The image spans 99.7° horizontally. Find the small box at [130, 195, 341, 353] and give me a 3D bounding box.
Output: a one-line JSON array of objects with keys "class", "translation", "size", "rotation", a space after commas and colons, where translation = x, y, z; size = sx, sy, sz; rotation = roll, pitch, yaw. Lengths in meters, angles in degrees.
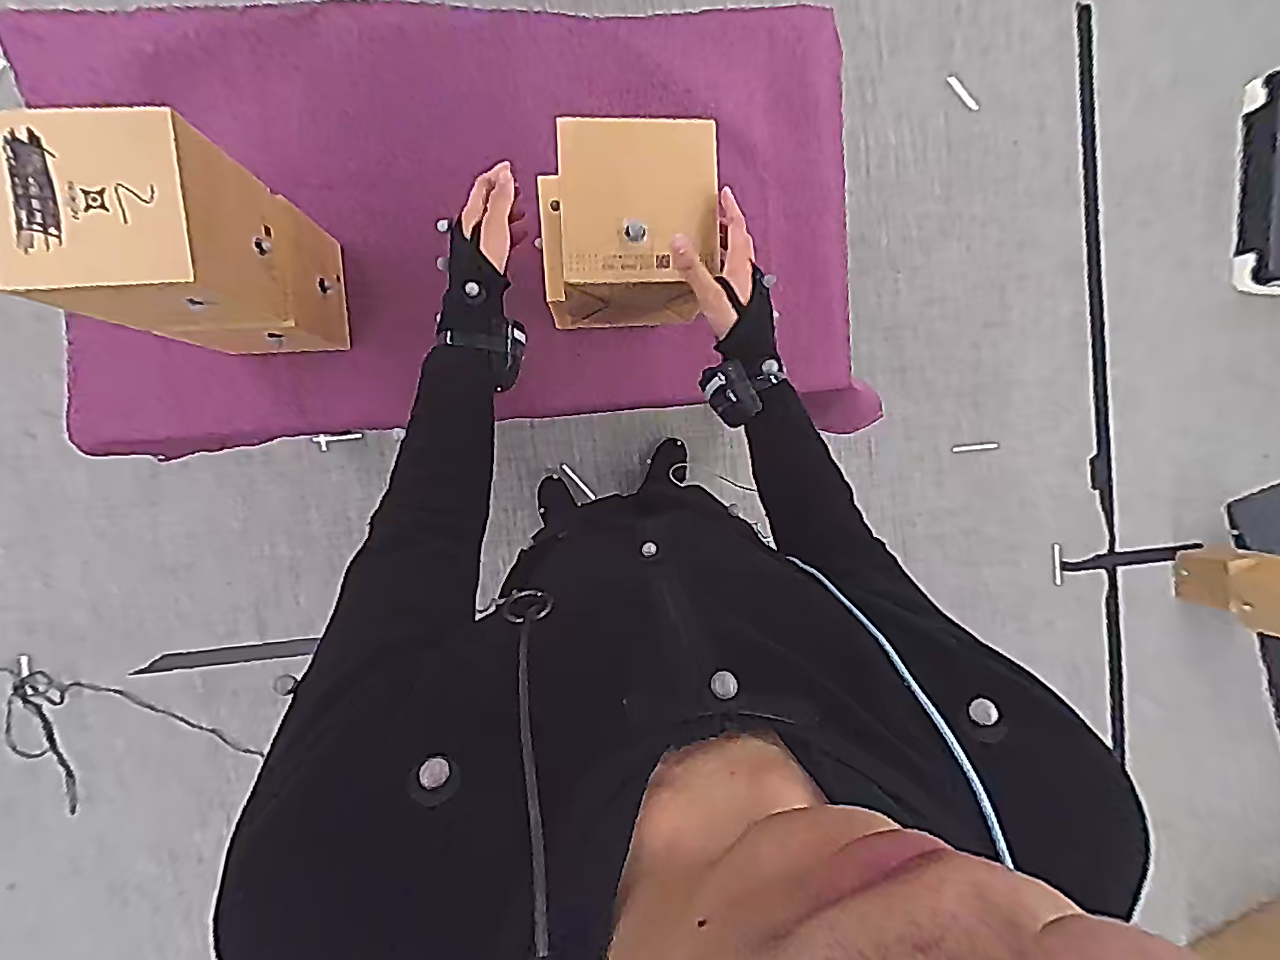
[{"class": "small box", "translation": [-0.538, -0.274, 0.750], "size": [0.179, 0.176, 0.168], "rotation": [-3, 94, -6]}]

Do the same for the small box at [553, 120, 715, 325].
[{"class": "small box", "translation": [-0.011, -0.283, 0.632], "size": [0.168, 0.179, 0.176], "rotation": [-3, 94, -5]}]

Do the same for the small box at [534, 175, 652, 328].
[{"class": "small box", "translation": [-0.054, -0.326, 0.796], "size": [0.179, 0.176, 0.168], "rotation": [-4, 94, -6]}]
